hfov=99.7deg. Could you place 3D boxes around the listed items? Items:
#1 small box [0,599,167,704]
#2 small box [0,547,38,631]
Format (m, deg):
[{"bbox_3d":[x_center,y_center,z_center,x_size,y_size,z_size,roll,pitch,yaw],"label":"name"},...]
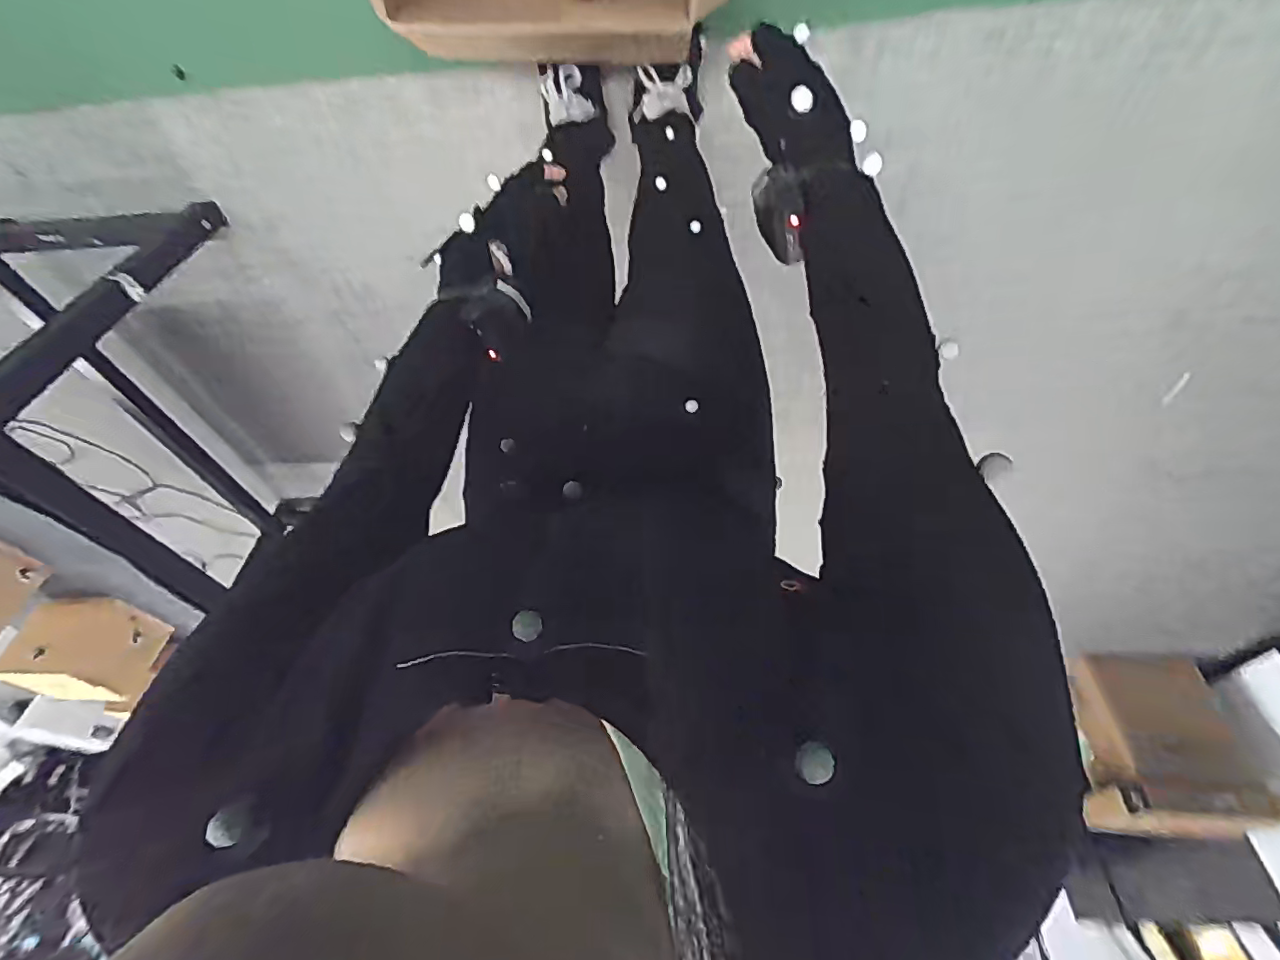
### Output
[{"bbox_3d":[-1.189,0.366,1.158,0.179,0.176,0.168,-2,140,6],"label":"small box"},{"bbox_3d":[-1.235,0.190,0.941,0.179,0.176,0.168,-2,141,7],"label":"small box"}]
